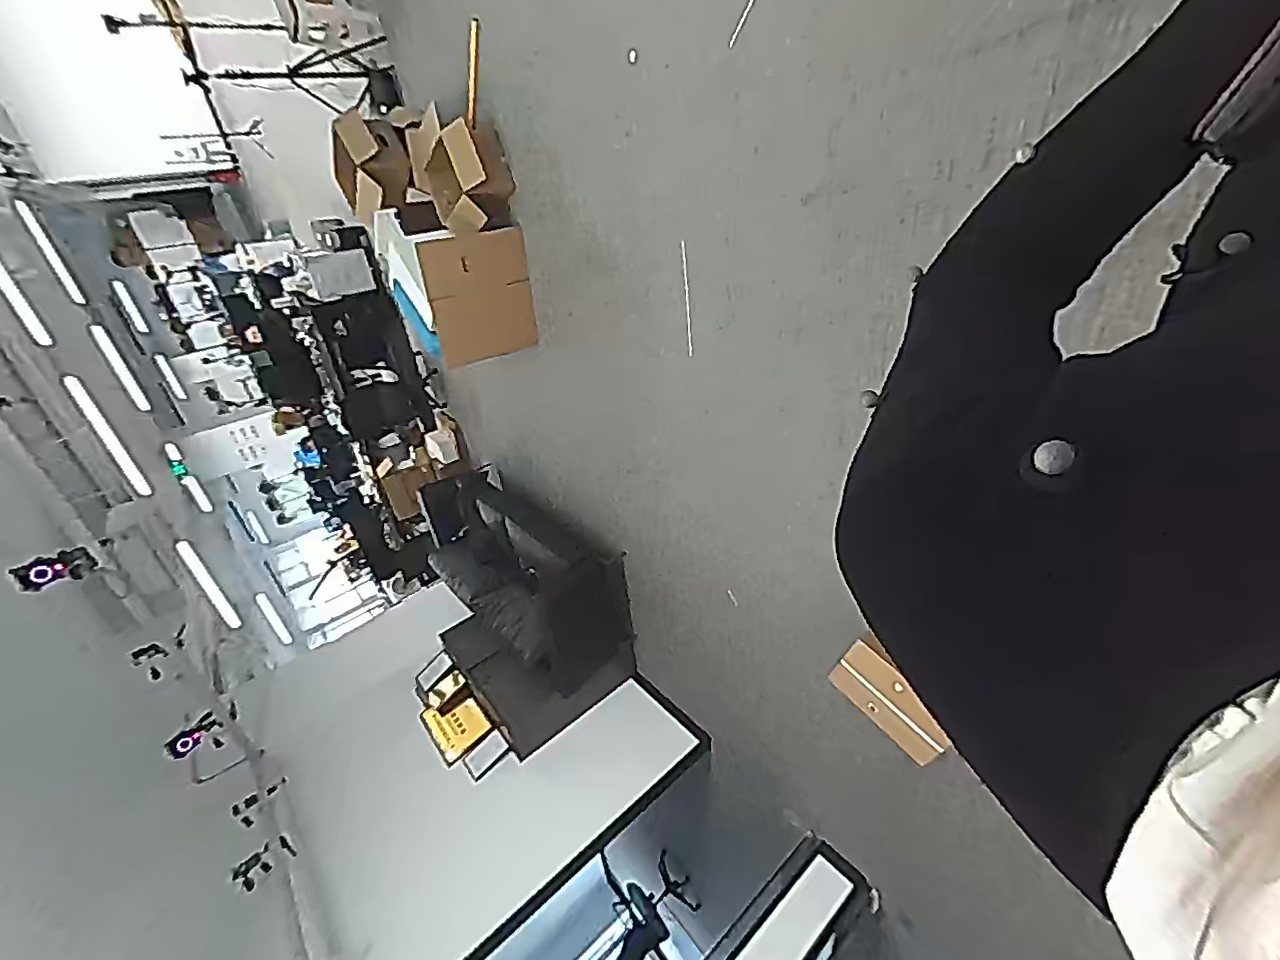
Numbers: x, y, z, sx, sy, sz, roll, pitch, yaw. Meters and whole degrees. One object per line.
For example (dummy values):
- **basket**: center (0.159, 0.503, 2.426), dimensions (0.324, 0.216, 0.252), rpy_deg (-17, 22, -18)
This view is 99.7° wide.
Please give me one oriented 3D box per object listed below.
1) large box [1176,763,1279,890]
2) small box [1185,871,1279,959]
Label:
- **large box**: center (1.557, 0.904, 1.215), dimensions (0.408, 0.320, 0.320), rpy_deg (-22, 95, 57)
- **small box**: center (1.320, 0.983, 1.145), dimensions (0.179, 0.176, 0.168), rpy_deg (-23, 93, 58)
